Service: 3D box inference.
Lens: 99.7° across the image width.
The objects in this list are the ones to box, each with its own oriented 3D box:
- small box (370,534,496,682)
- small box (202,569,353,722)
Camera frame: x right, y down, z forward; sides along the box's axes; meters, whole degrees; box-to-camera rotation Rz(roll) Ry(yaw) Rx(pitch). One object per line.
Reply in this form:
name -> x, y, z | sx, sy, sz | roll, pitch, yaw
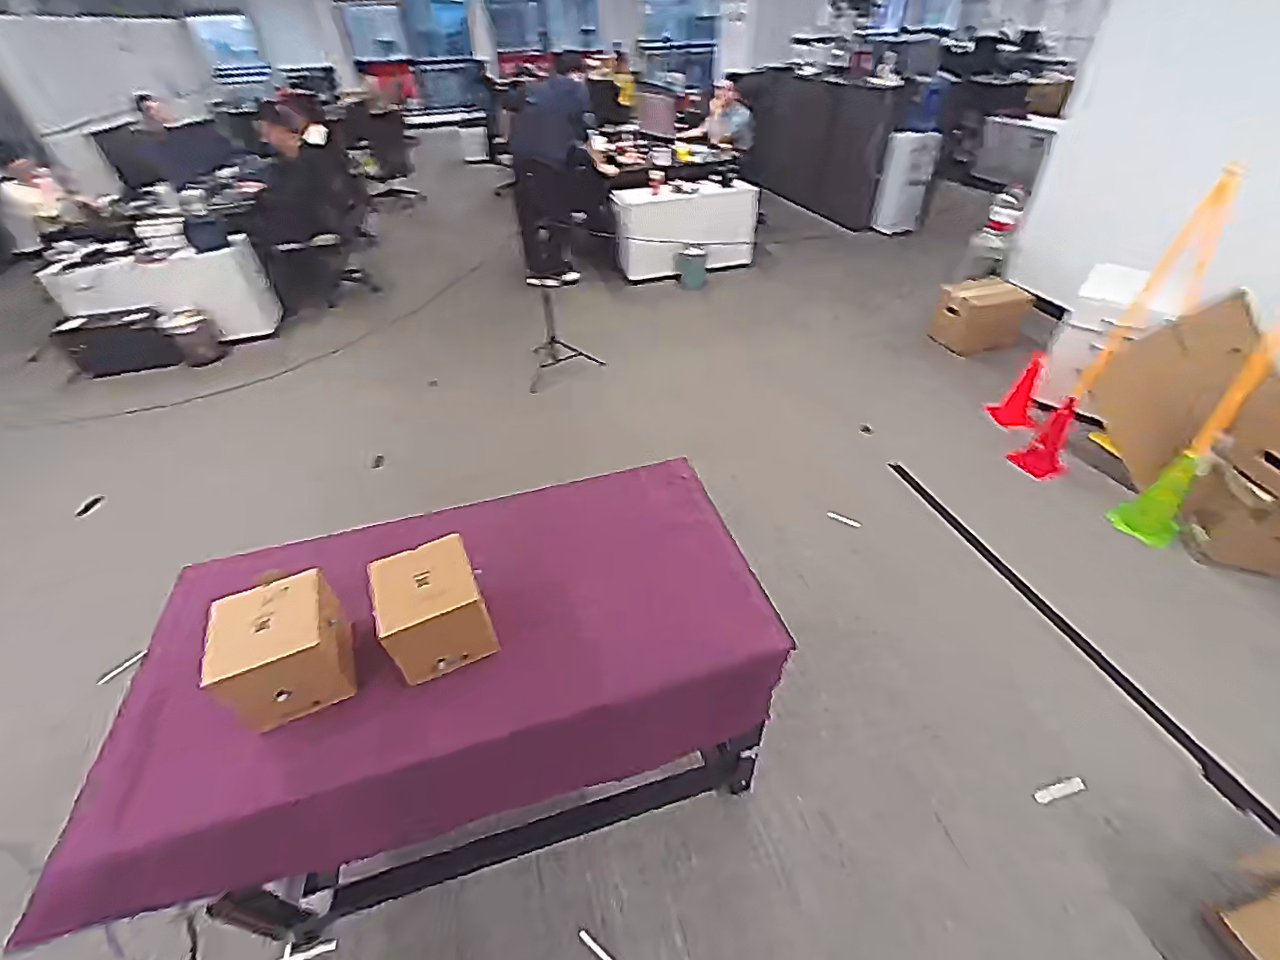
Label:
small box -> -0.383, 0.237, 1.007 | 0.168, 0.176, 0.179 | -20, 44, -18
small box -> -0.622, 0.295, 0.951 | 0.168, 0.176, 0.179 | -18, 43, -18
